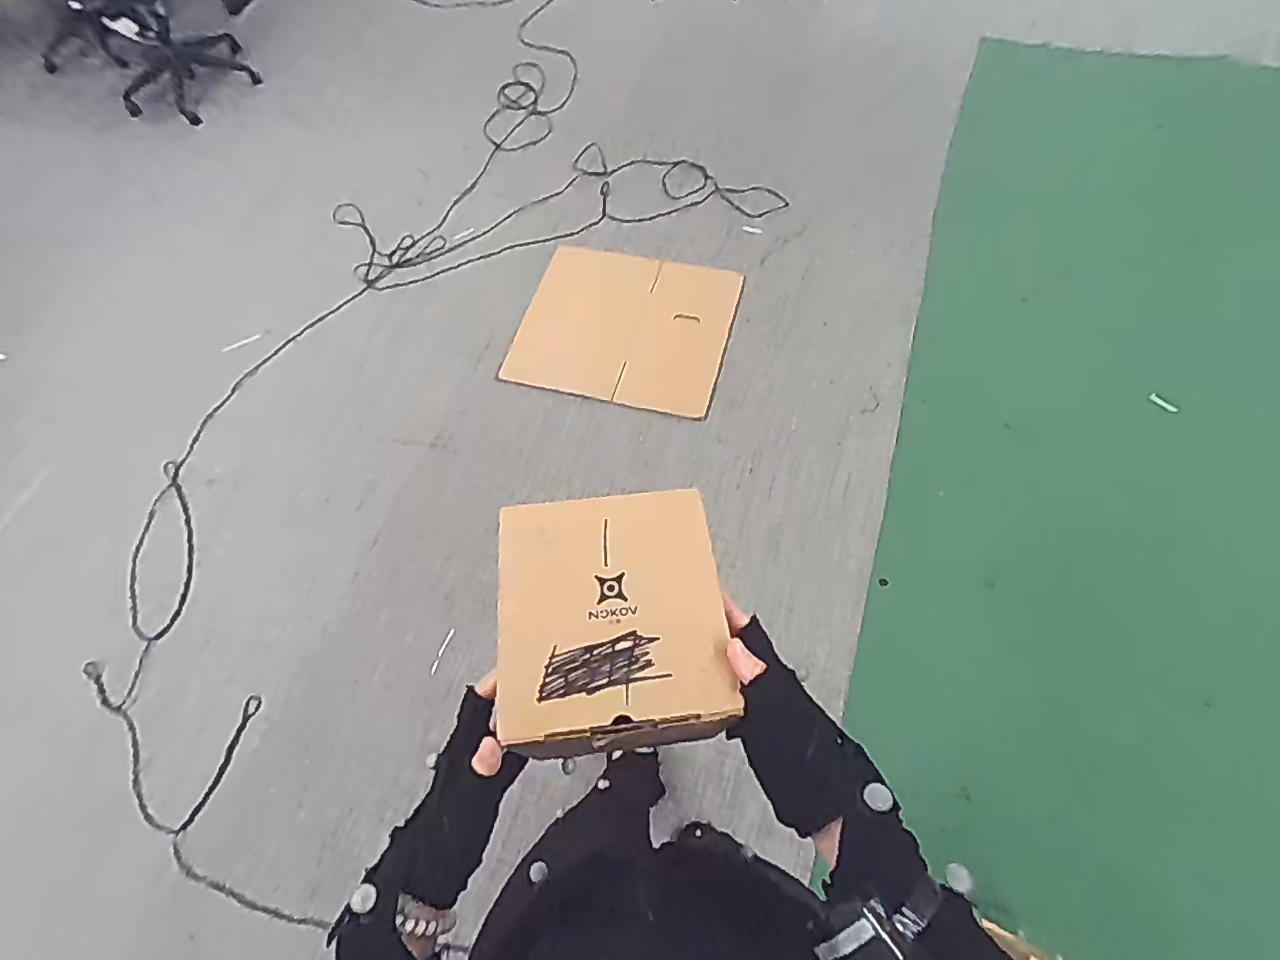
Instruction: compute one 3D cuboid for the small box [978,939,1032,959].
[{"bbox_3d":[0.636,0.866,0.834,0.168,0.176,0.179,20,68,14],"label":"small box"}]
